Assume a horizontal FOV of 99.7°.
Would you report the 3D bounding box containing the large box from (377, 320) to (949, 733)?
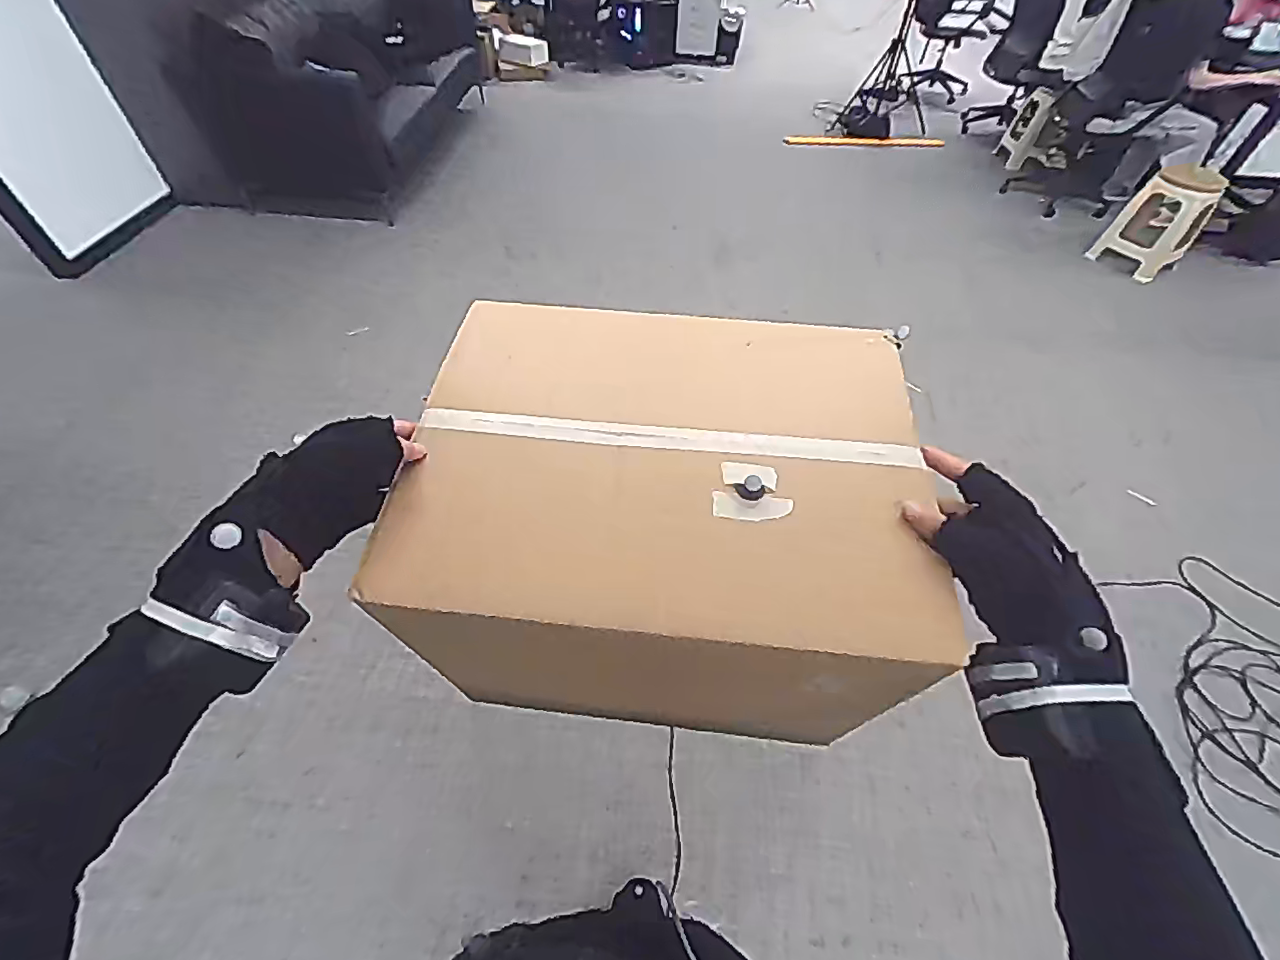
[{"bbox_3d":[0.022,0.060,0.574,0.408,0.320,0.320,5,56,3],"label":"large box"}]
